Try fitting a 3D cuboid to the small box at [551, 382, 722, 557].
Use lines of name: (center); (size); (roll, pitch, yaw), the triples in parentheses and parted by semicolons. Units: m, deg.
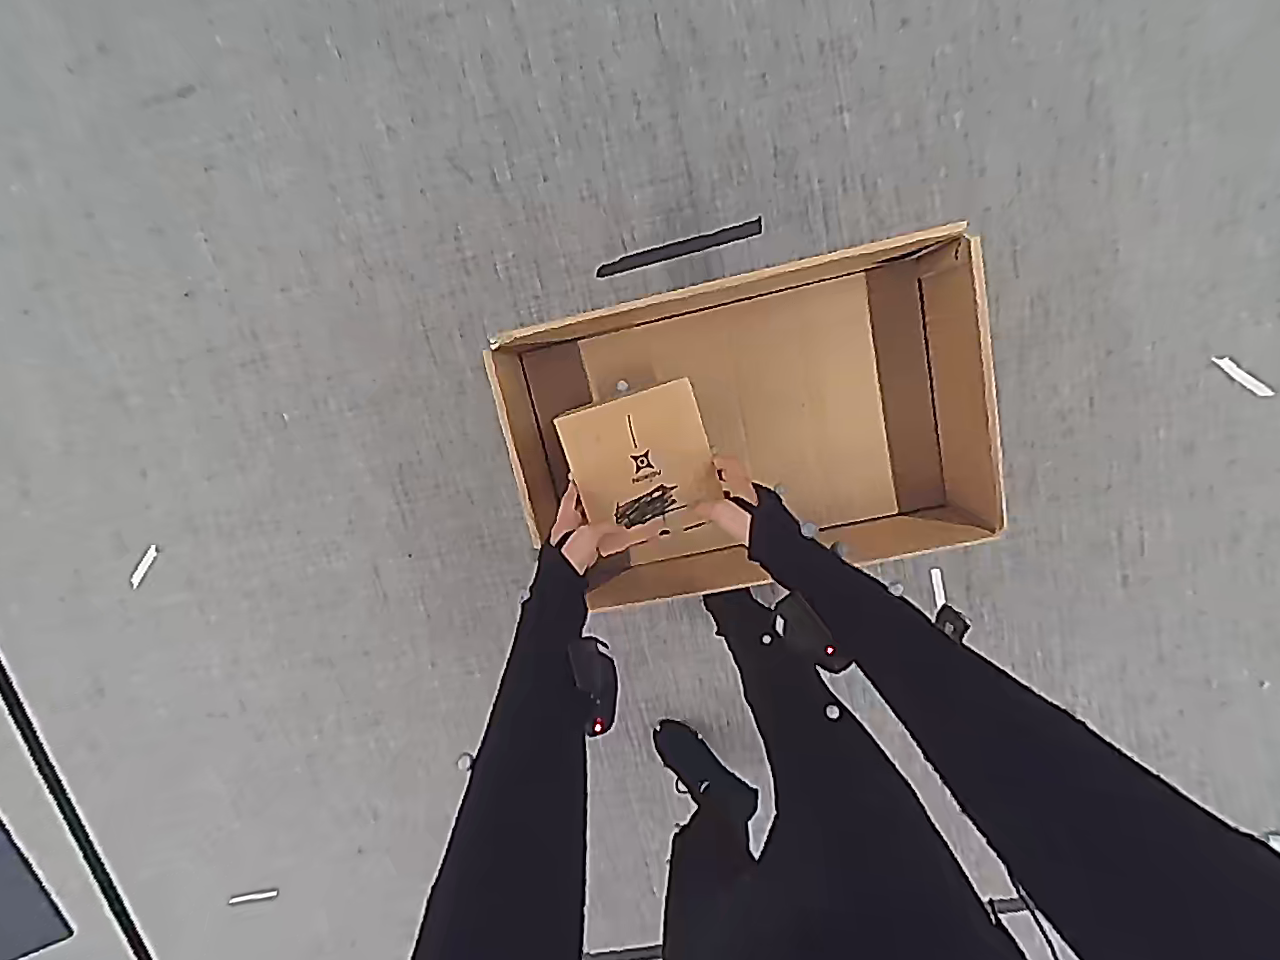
small box: (-0.004, -0.025, 0.714); (0.168, 0.176, 0.179); (-18, 100, 1)
